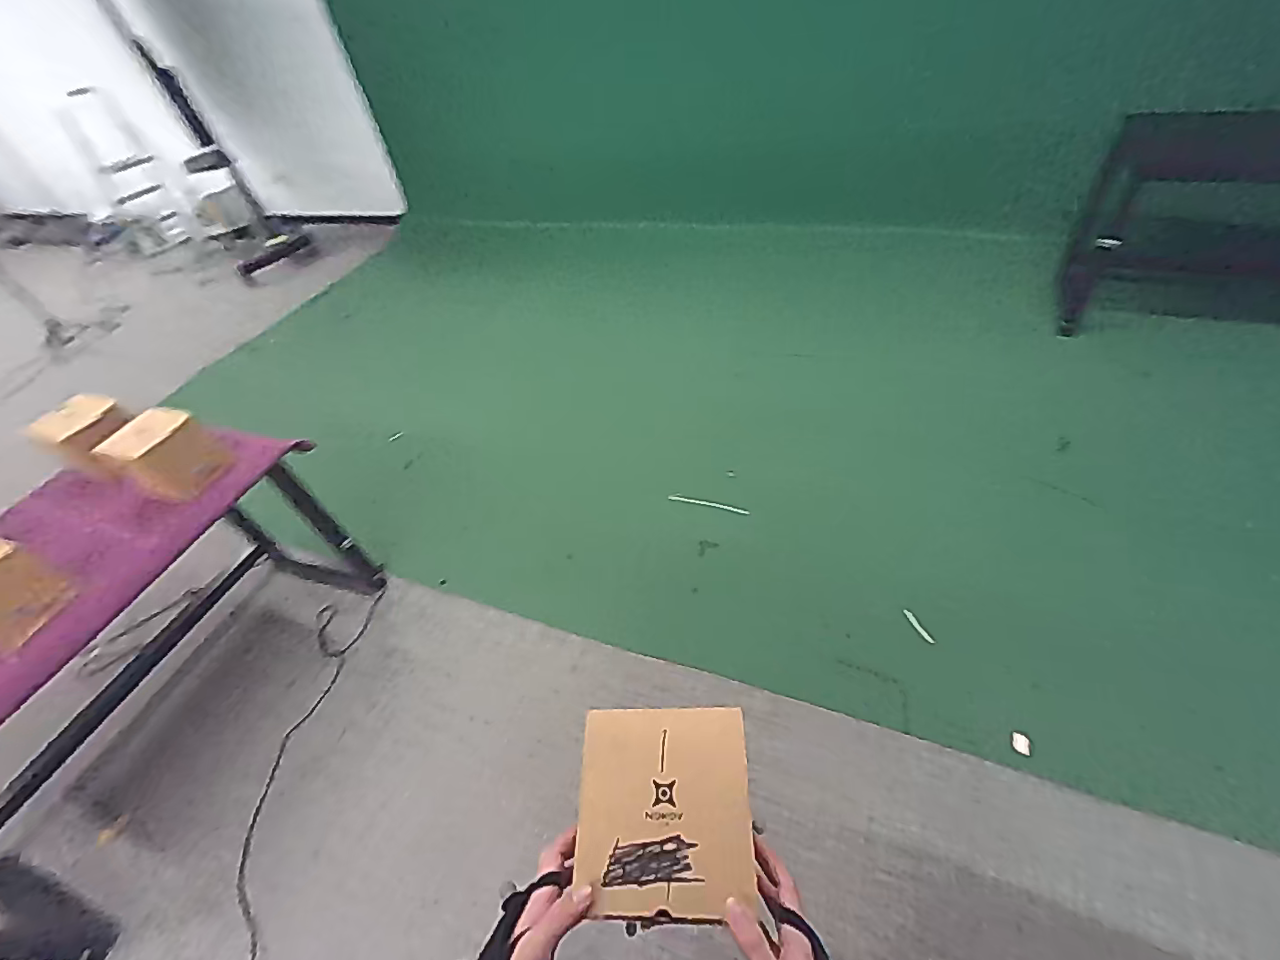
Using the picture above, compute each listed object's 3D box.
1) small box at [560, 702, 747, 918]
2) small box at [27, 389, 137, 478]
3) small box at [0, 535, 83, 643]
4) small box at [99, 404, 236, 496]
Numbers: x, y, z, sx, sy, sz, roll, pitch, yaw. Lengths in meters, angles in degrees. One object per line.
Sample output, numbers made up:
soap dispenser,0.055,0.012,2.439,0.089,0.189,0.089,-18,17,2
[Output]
small box,0.024,0.352,0.577,0.168,0.176,0.179,-5,50,7
small box,-1.525,-0.129,1.526,0.179,0.176,0.168,14,51,18
small box,-1.397,0.231,1.169,0.179,0.176,0.168,8,49,18
small box,-1.231,-0.077,1.422,0.179,0.176,0.168,10,52,20
